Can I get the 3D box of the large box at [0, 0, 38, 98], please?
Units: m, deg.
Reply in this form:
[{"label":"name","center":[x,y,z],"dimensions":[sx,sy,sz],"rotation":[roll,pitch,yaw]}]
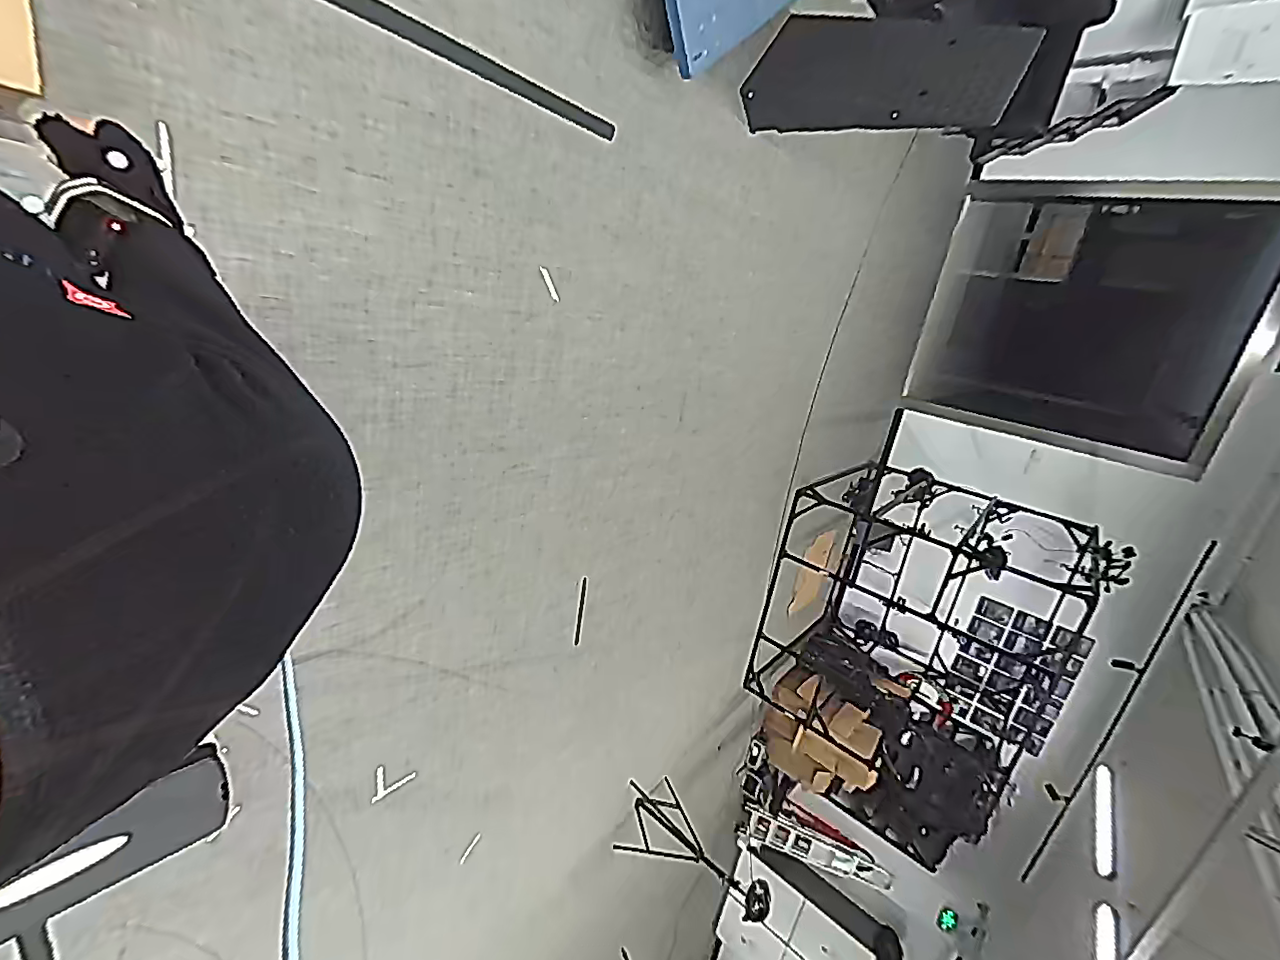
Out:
[{"label":"large box","center":[-1.036,-0.697,0.619],"dimensions":[0.408,0.320,0.320],"rotation":[-14,121,-51]}]
